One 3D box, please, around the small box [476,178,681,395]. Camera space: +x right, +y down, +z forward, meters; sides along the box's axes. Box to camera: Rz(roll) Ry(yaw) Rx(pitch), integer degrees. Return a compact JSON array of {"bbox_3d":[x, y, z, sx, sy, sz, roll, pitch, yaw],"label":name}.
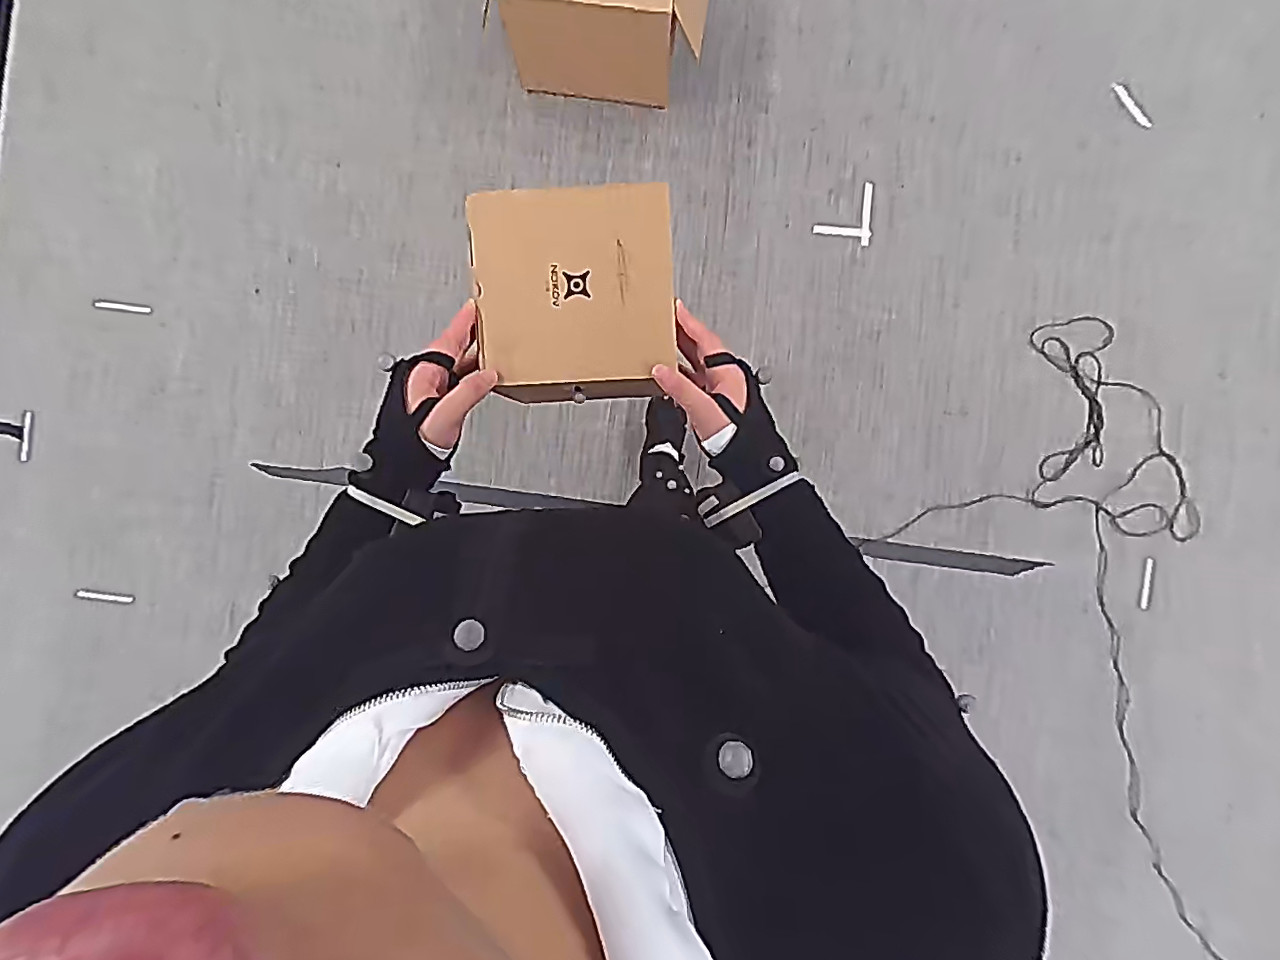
[{"bbox_3d":[-0.053,-0.181,0.554,0.179,0.176,0.168,-4,94,0],"label":"small box"}]
